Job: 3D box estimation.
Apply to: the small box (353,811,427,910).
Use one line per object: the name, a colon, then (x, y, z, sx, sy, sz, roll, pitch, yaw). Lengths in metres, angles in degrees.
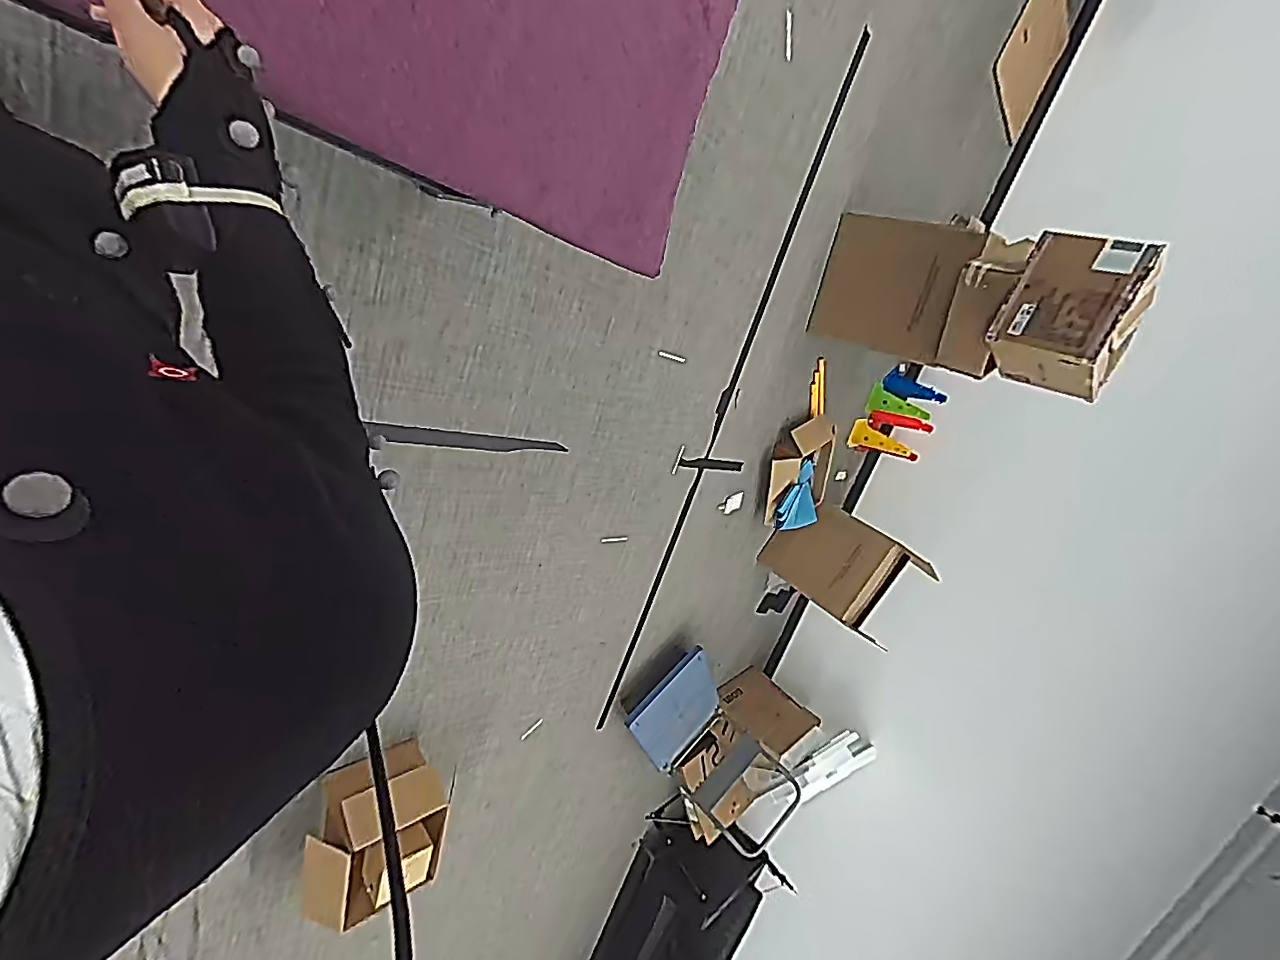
small box: (-0.836, 1.257, 1.799, 0.168, 0.176, 0.179, -3, 116, -47)
